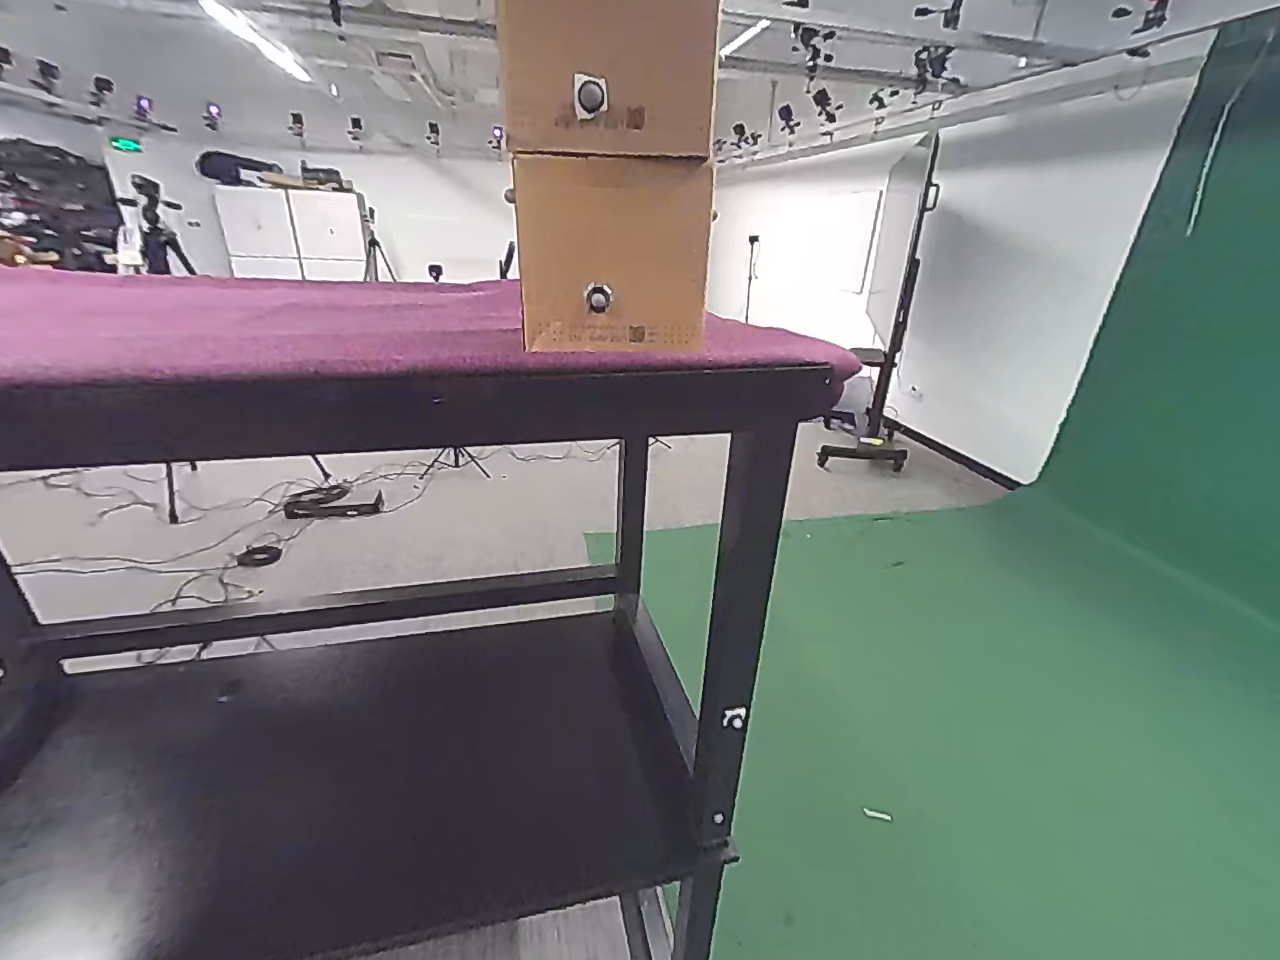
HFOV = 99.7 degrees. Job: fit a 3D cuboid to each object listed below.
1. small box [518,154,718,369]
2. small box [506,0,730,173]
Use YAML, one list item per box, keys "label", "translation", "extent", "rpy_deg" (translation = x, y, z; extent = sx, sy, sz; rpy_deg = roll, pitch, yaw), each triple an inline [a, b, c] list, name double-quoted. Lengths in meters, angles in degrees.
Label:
- label: "small box"
  translation: [-0.025, -0.217, 0.542]
  extent: [0.168, 0.176, 0.179]
  rpy_deg: [0, 26, -4]
- label: "small box"
  translation: [-0.017, -0.359, 0.465]
  extent: [0.168, 0.176, 0.179]
  rpy_deg: [1, 27, 0]
